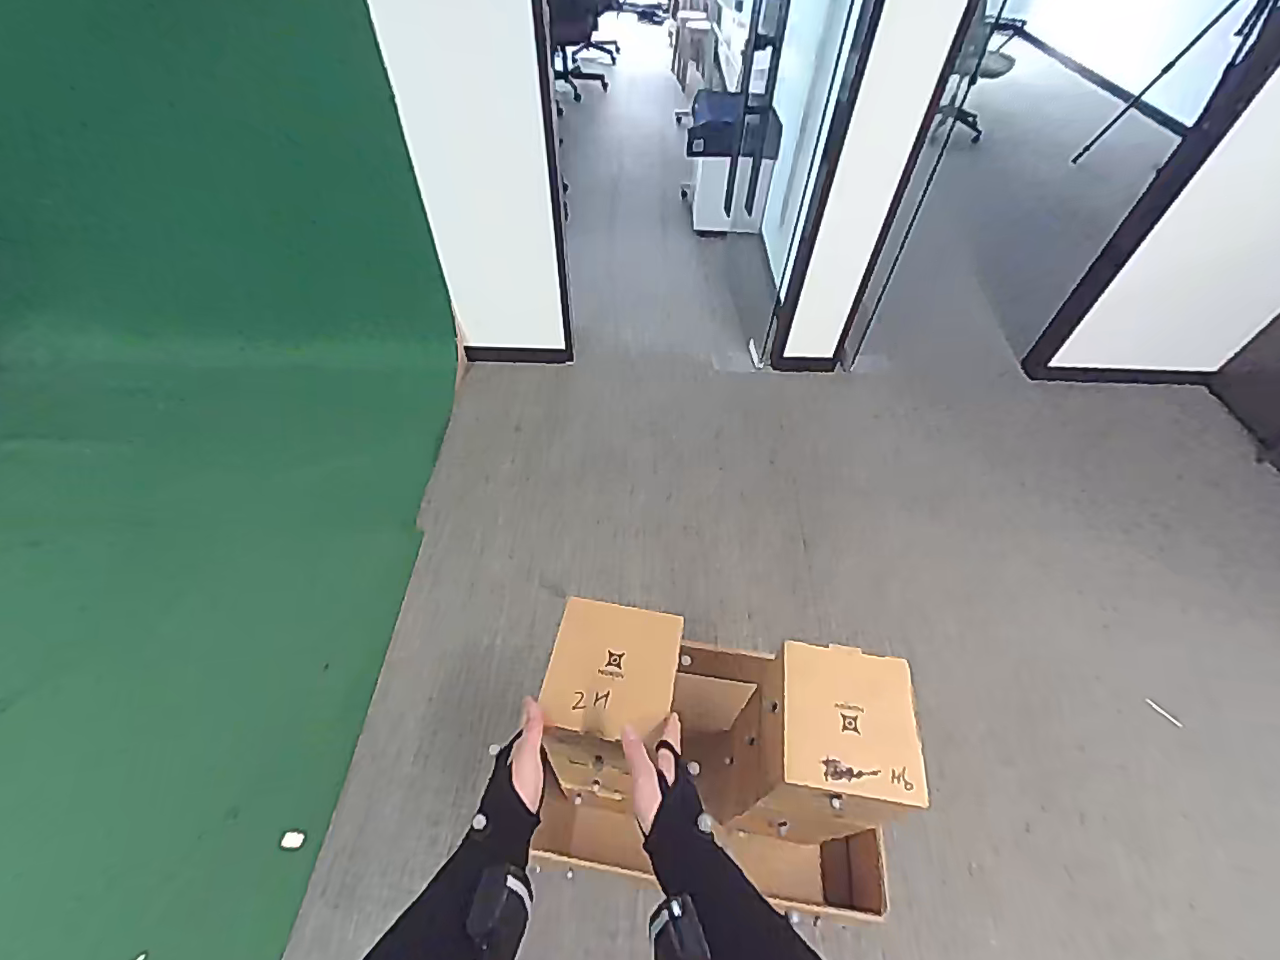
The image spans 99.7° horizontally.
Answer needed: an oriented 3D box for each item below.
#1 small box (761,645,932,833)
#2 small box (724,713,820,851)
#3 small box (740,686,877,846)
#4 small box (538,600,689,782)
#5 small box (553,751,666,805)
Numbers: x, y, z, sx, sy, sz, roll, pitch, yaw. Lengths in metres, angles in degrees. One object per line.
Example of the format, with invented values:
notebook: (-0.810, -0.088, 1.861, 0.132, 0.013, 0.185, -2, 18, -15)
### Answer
small box: (0.261, 0.350, 0.729, 0.168, 0.176, 0.179, 8, 51, 6)
small box: (0.251, 0.553, 0.985, 0.168, 0.176, 0.179, 10, 51, 5)
small box: (0.255, 0.454, 0.856, 0.168, 0.176, 0.179, 9, 52, 6)
small box: (-0.032, 0.298, 0.761, 0.168, 0.176, 0.179, 10, 51, 7)
small box: (-0.035, 0.406, 0.886, 0.168, 0.176, 0.179, 9, 51, 5)
